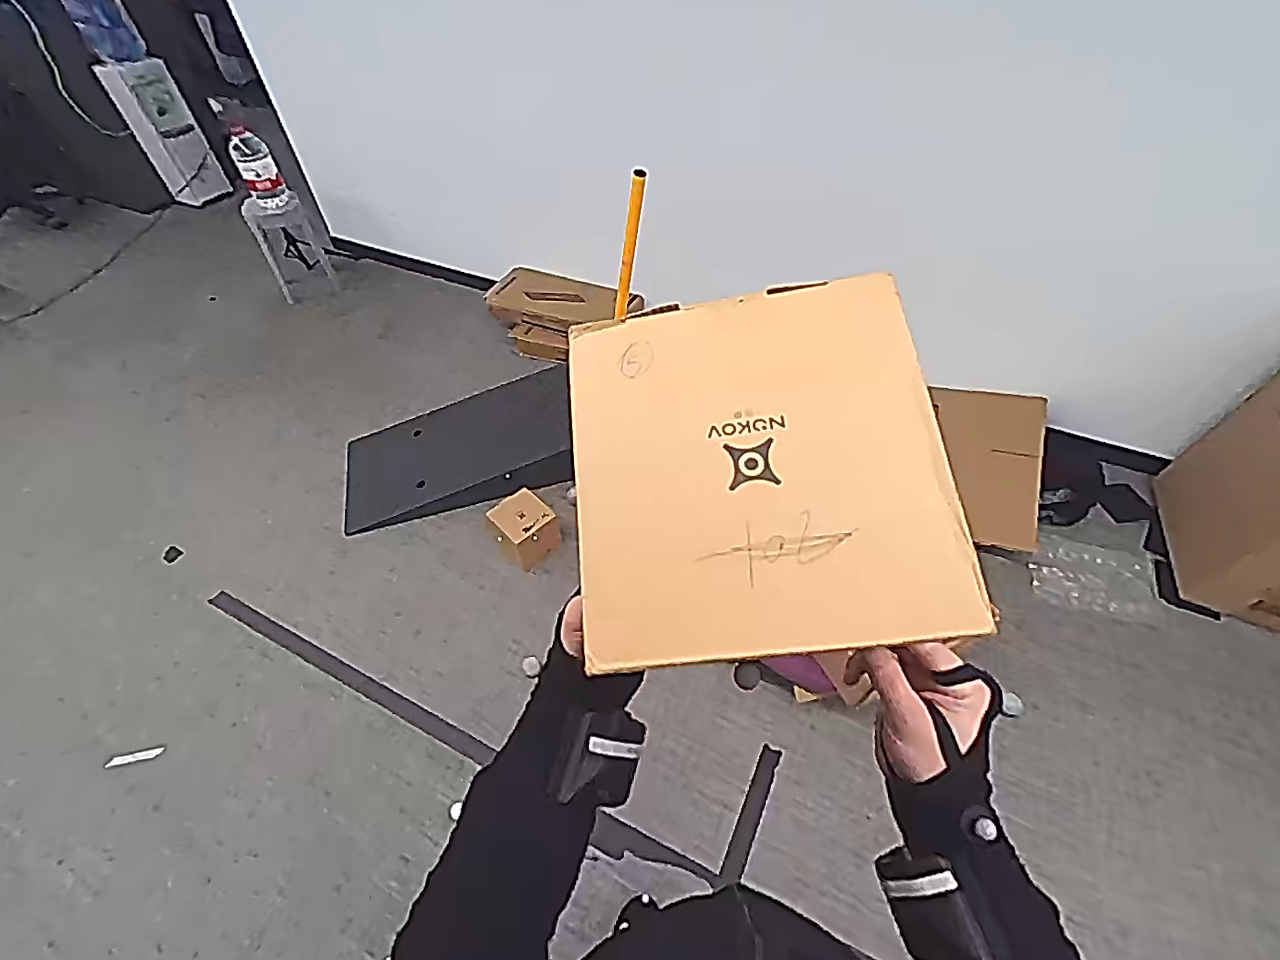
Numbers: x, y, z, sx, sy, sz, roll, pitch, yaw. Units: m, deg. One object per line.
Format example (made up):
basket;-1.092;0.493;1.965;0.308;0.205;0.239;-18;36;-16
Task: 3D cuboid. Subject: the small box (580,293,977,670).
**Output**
small box;0.065;0.019;0.335;0.168;0.176;0.179;-8;72;7
